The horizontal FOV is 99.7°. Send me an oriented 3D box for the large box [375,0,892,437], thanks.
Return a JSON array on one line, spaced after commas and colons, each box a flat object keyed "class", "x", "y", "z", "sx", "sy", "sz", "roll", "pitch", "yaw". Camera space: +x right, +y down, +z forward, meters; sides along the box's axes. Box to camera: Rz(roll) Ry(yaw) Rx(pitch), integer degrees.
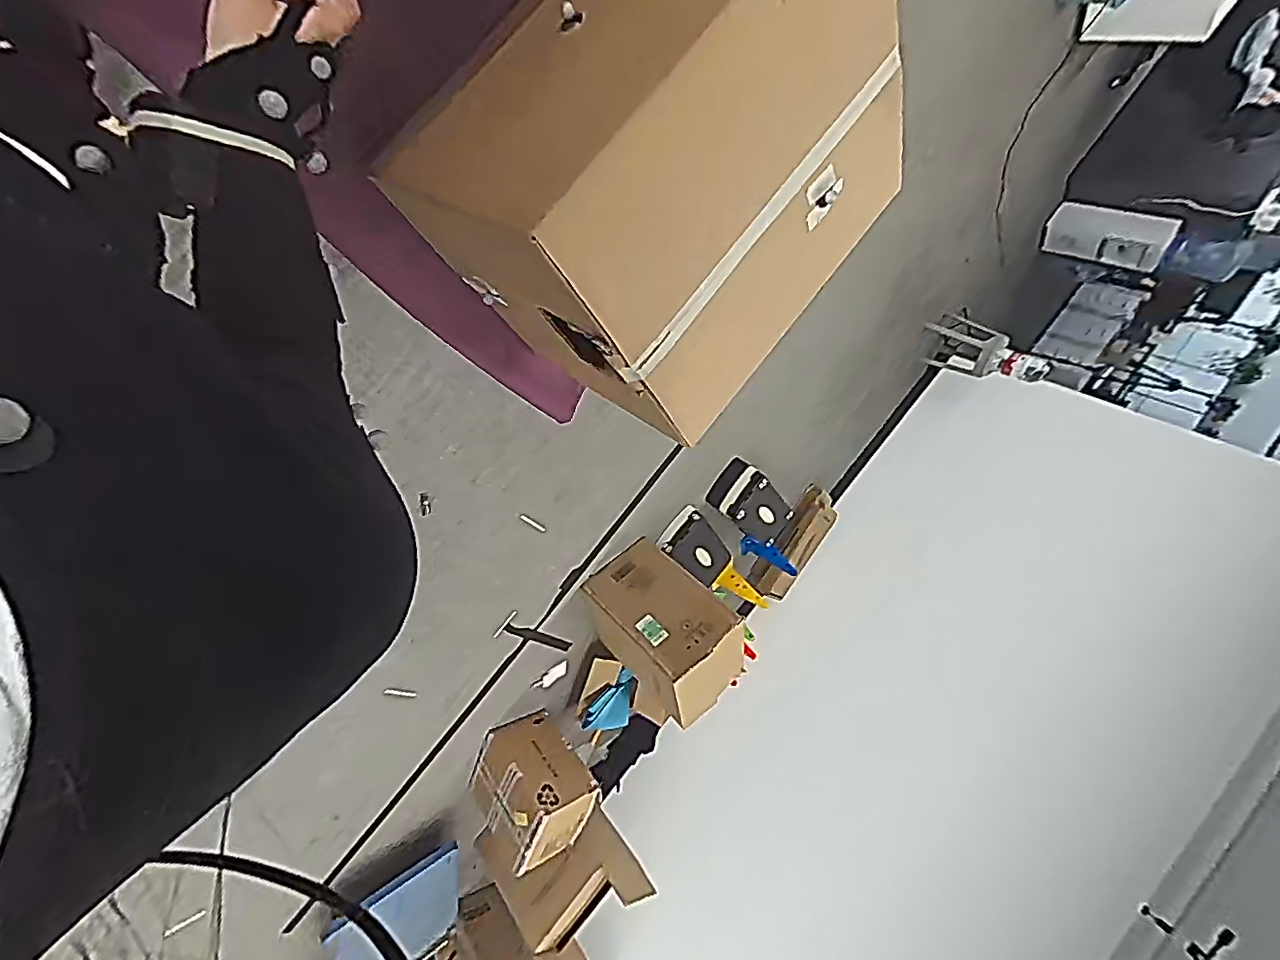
[{"class": "large box", "x": 0.011, "y": -0.329, "z": 0.585, "sx": 0.408, "sy": 0.320, "sz": 0.320, "roll": -52, "pitch": 146, "yaw": -5}]
